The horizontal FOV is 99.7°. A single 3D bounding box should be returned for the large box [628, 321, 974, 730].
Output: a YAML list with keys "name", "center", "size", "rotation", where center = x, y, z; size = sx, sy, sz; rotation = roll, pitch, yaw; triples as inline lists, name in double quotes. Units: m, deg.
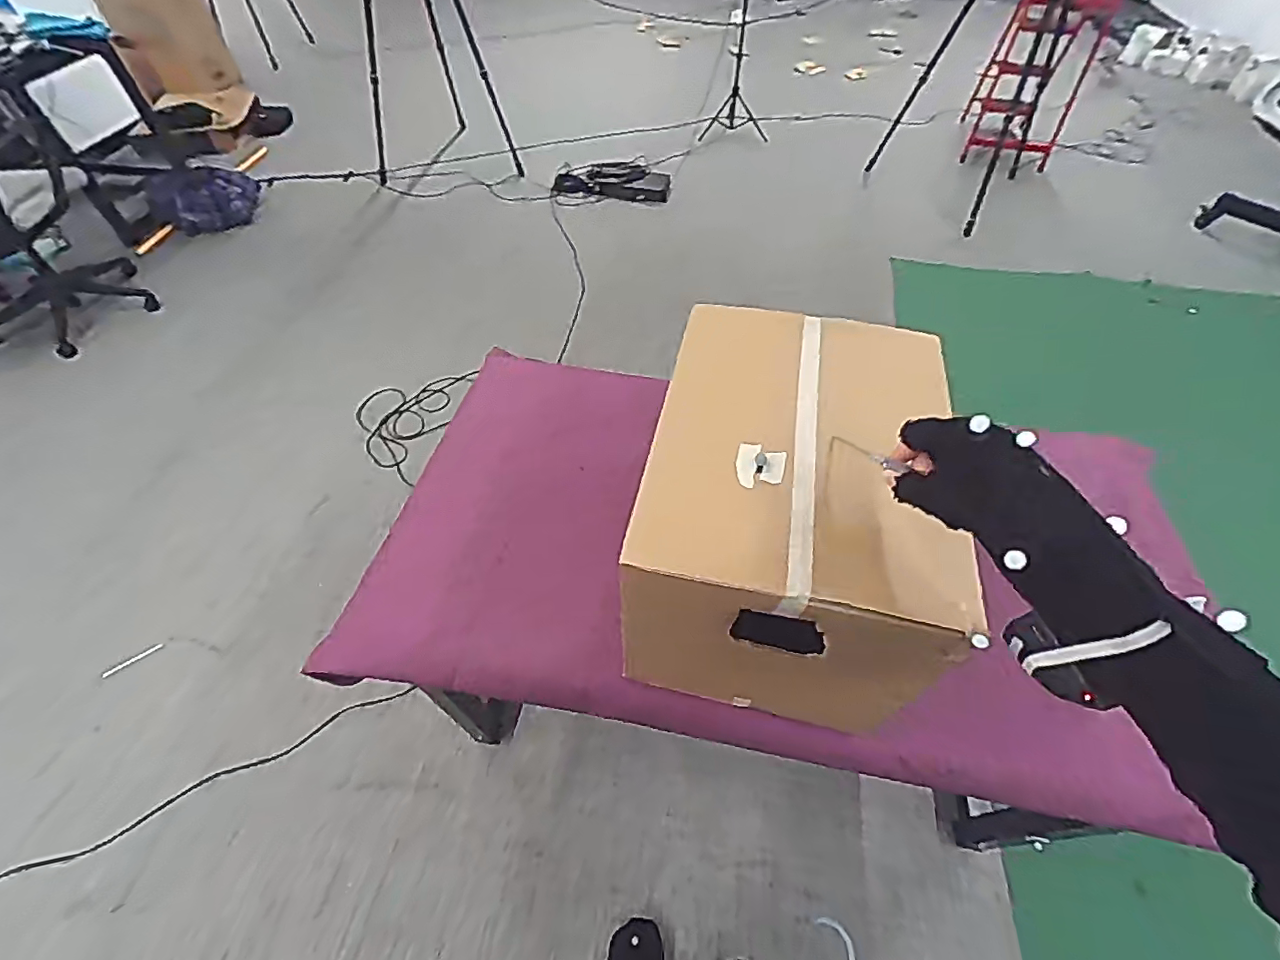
- name: "large box"
  center: [0.175, 0.054, 0.713]
  size: [0.320, 0.320, 0.408]
  rotation: [10, 53, 8]
